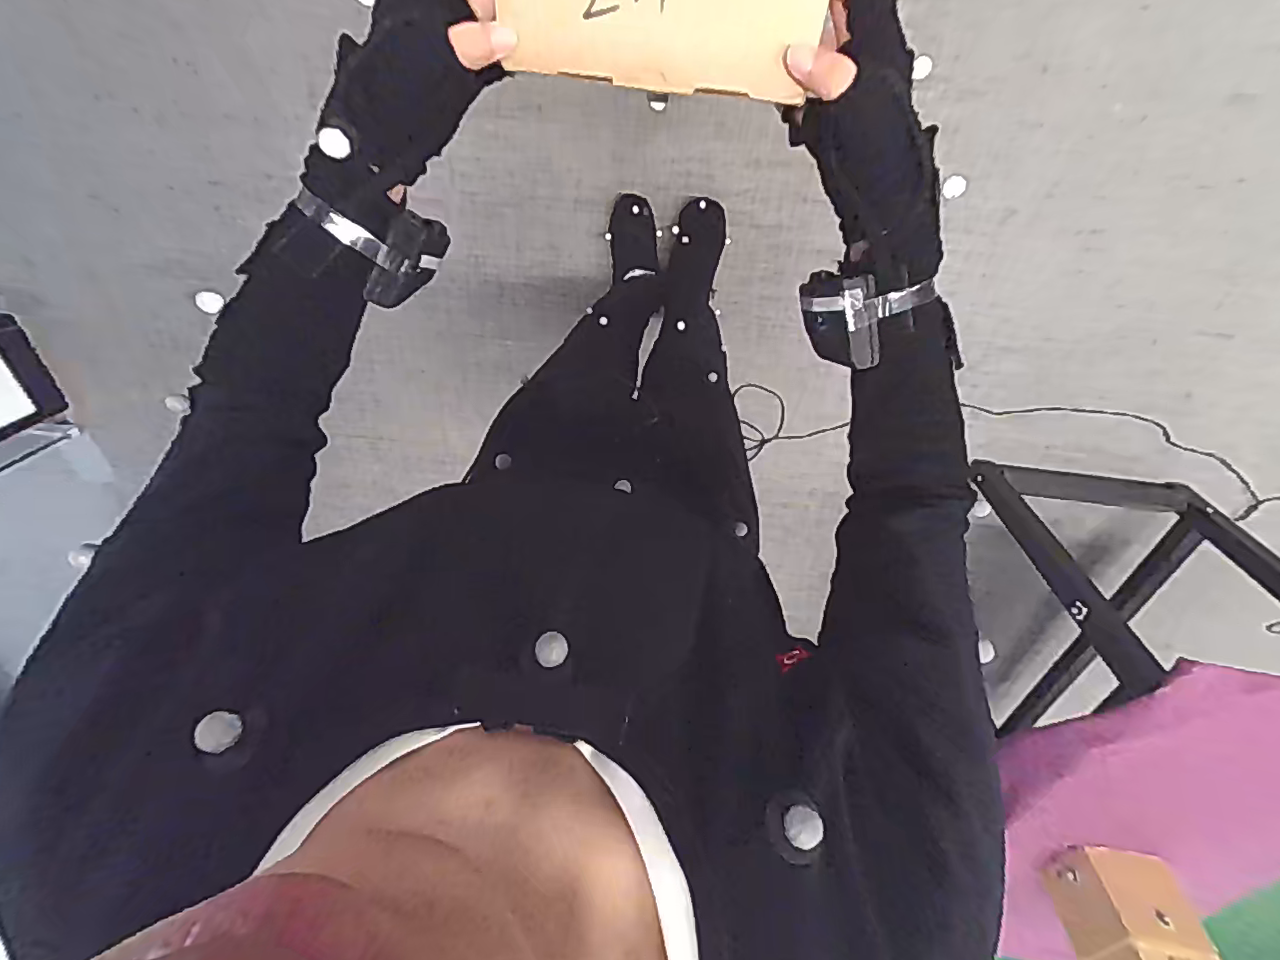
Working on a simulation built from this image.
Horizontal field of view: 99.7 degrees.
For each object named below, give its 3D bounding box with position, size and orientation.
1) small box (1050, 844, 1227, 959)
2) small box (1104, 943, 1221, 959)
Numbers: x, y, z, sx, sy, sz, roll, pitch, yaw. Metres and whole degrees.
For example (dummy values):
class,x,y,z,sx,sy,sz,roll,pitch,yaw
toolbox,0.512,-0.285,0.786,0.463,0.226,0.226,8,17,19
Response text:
class,x,y,z,sx,sy,sz,roll,pitch,yaw
small box,1.025,0.896,1.133,0.179,0.176,0.168,10,124,-1
small box,1.014,0.993,1.005,0.168,0.176,0.179,9,125,0
